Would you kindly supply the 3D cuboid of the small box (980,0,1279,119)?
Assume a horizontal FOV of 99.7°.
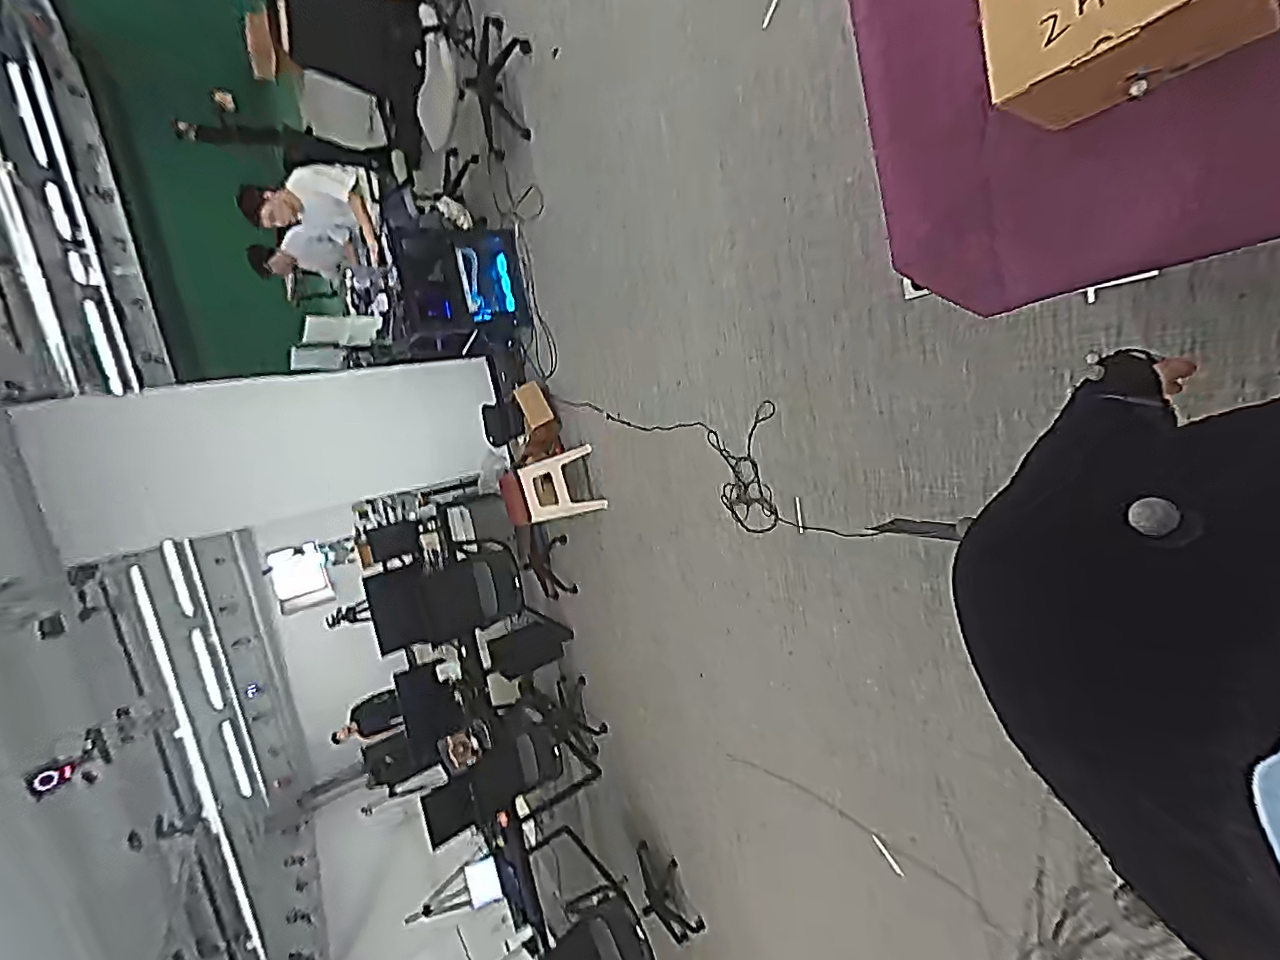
[{"bbox_3d":[0.418,-0.454,0.468,0.168,0.176,0.179,-3,101,55],"label":"small box"}]
